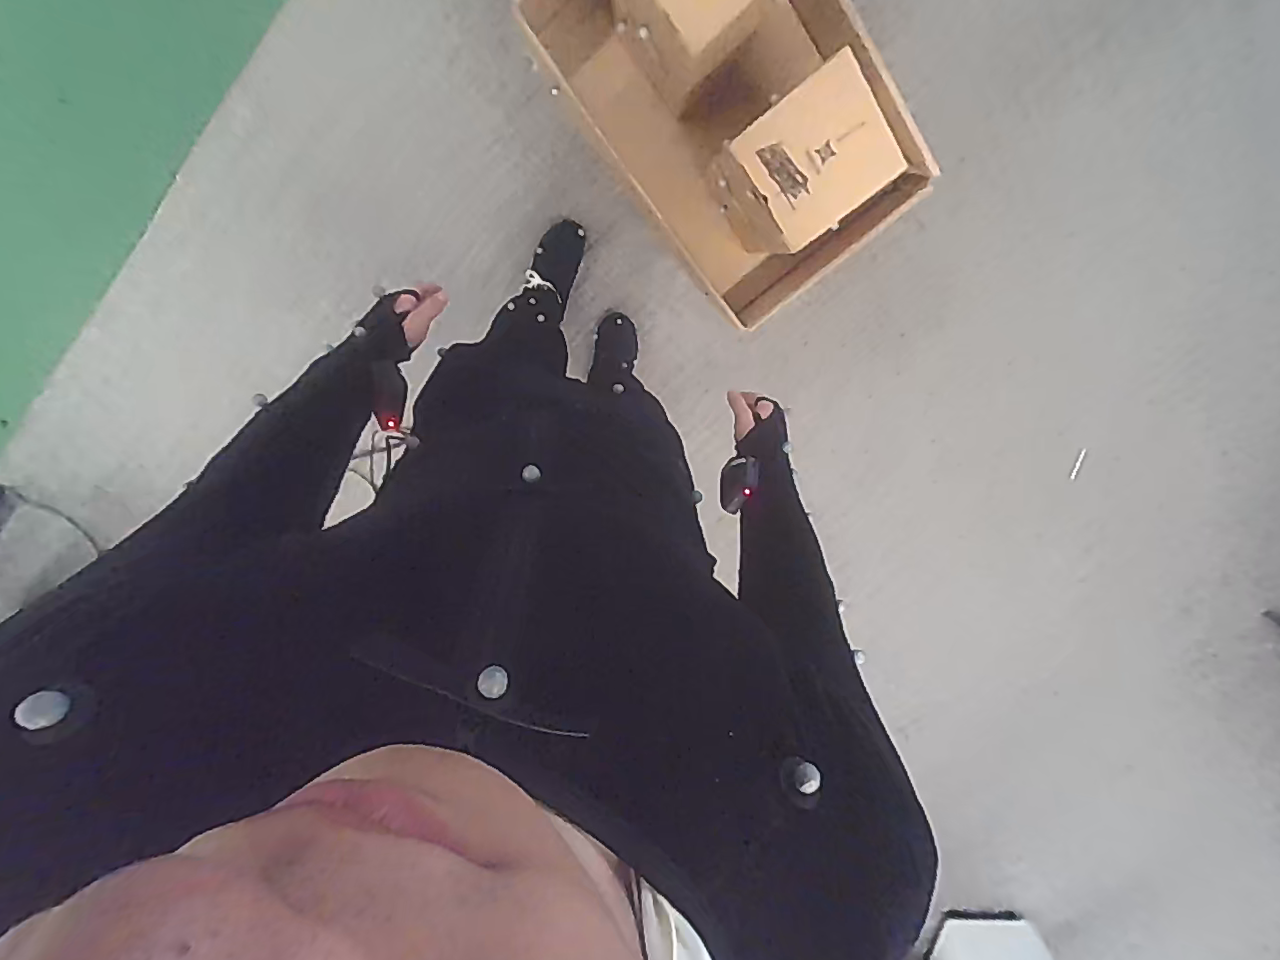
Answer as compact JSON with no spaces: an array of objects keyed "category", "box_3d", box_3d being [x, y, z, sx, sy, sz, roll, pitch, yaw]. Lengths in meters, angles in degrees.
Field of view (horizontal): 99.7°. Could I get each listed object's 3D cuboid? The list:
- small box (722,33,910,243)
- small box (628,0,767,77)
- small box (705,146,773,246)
[{"category":"small box","box_3d":[0.230,-0.454,0.757,0.179,0.176,0.168,-35,109,13]},{"category":"small box","box_3d":[0.078,-0.656,0.669,0.179,0.176,0.168,-37,108,14]},{"category":"small box","box_3d":[0.228,-0.520,0.909,0.179,0.176,0.168,-35,109,15]}]
